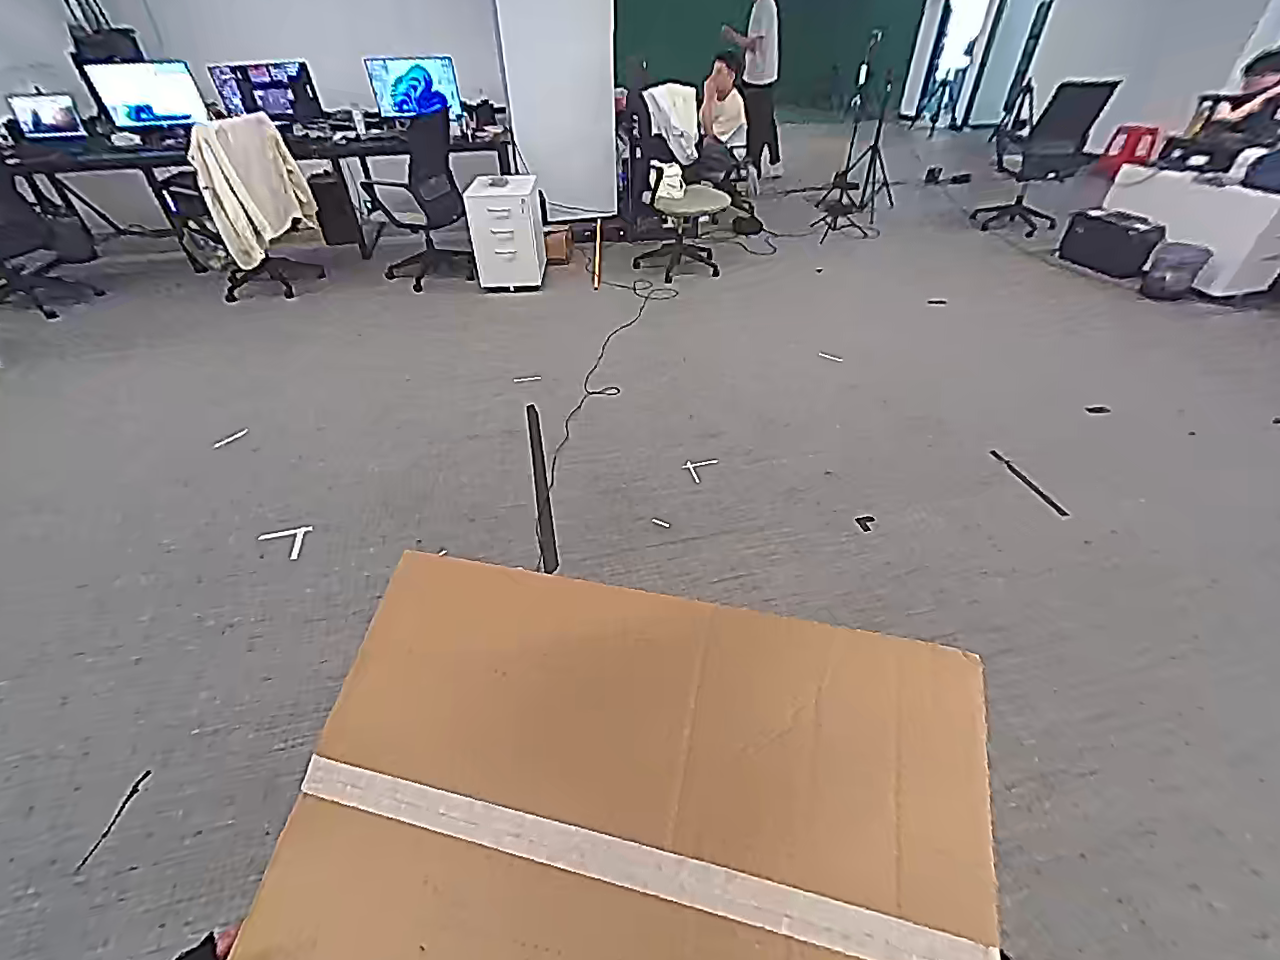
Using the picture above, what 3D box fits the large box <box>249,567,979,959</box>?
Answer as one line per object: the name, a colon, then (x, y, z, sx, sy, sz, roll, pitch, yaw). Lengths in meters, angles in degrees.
large box: (0.001, 0.294, 0.449, 0.408, 0.320, 0.320, 7, 63, 13)
